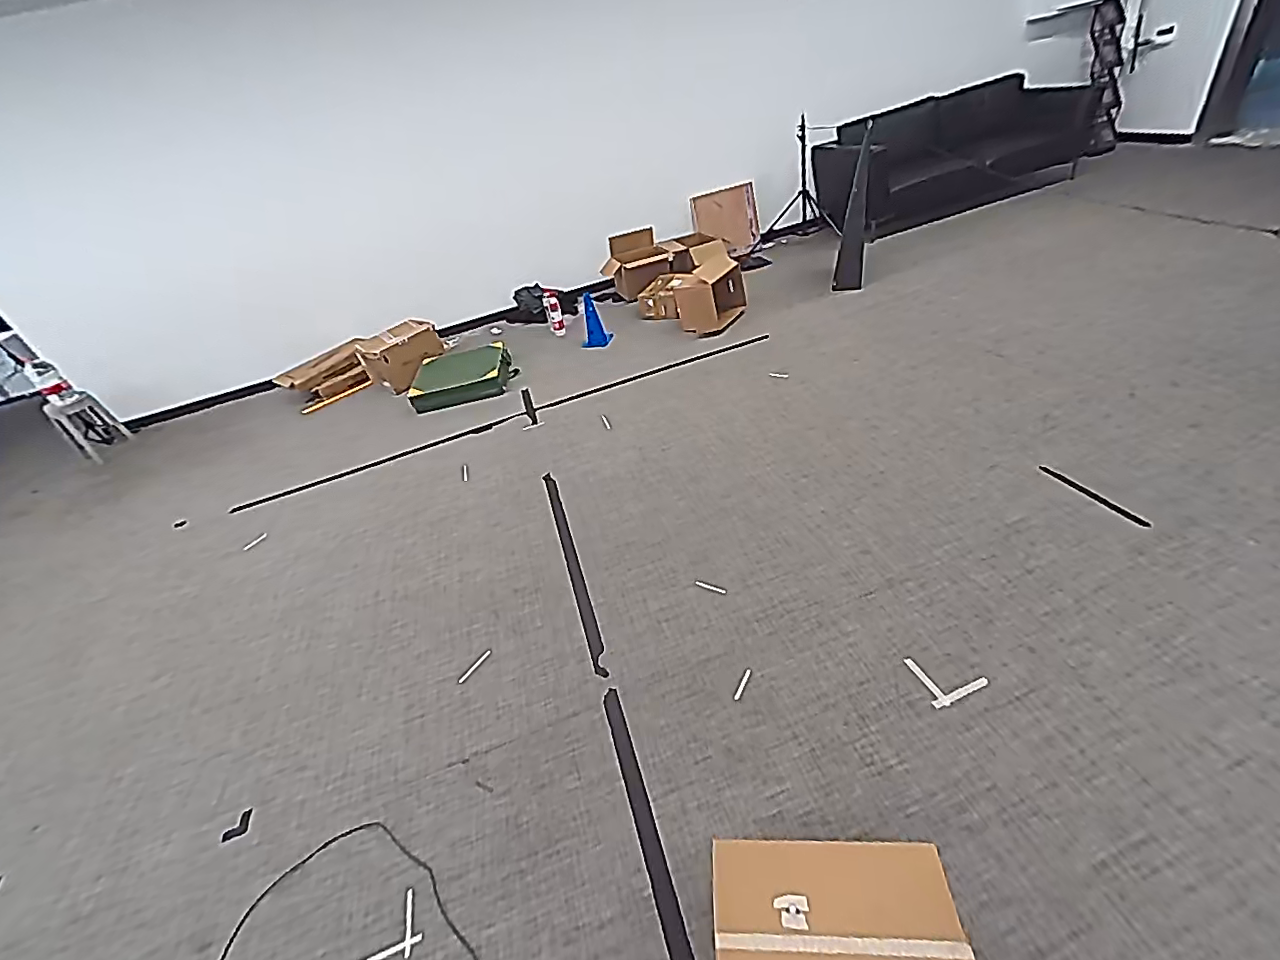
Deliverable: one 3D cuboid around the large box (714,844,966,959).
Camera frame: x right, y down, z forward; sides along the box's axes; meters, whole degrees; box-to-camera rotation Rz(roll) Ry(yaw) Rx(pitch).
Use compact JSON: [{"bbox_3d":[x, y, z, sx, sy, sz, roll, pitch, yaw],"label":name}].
[{"bbox_3d":[0.360,0.901,0.986,0.408,0.320,0.320,-7,35,11],"label":"large box"}]
